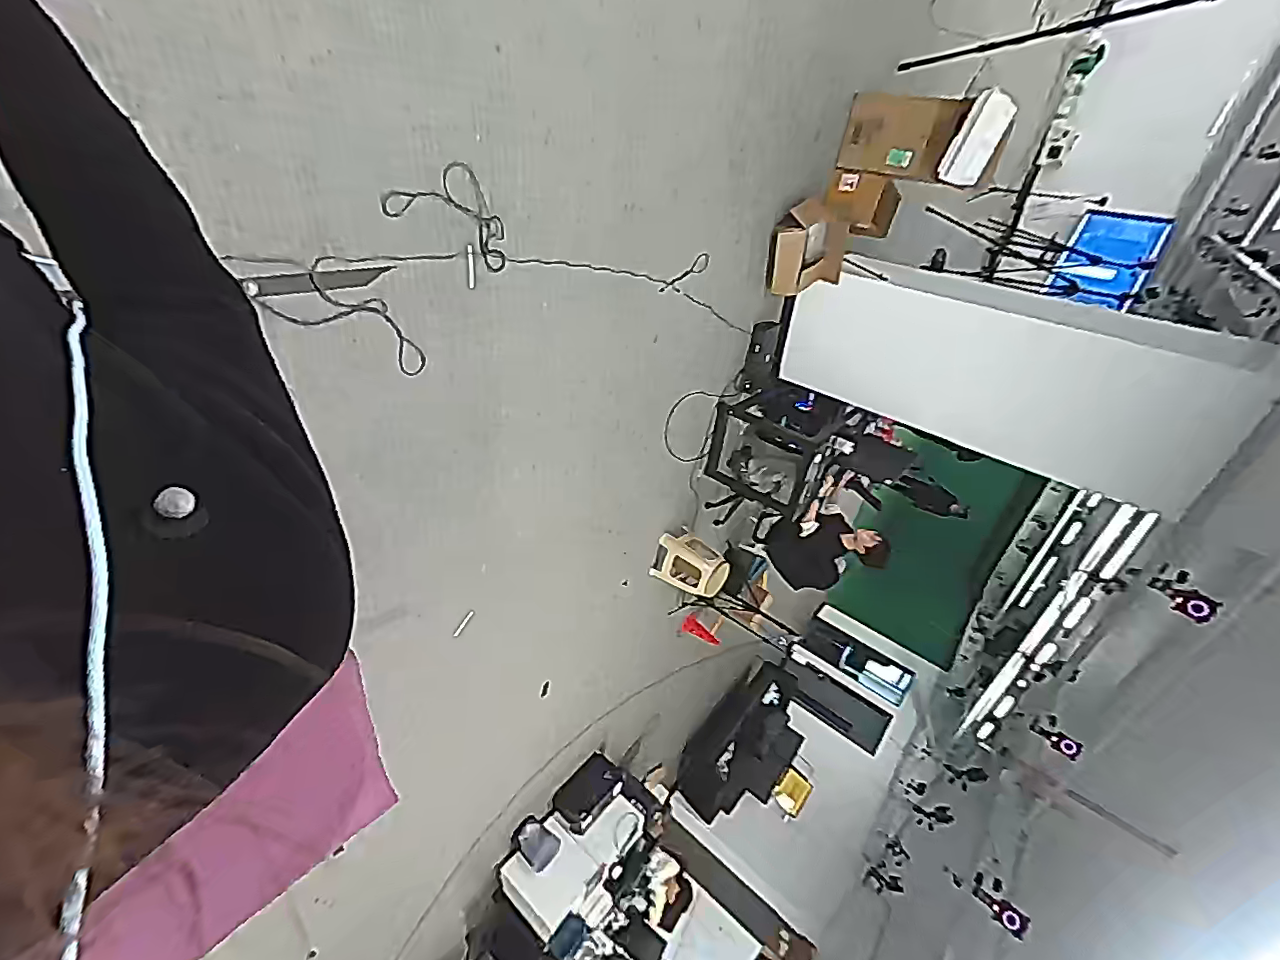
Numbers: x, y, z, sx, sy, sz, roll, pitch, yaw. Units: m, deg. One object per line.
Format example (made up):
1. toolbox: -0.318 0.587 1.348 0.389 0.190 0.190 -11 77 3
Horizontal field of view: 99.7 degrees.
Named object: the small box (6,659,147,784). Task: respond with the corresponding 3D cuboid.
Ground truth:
1. small box: -1.341 0.566 1.290 0.179 0.176 0.168 -30 138 -40
